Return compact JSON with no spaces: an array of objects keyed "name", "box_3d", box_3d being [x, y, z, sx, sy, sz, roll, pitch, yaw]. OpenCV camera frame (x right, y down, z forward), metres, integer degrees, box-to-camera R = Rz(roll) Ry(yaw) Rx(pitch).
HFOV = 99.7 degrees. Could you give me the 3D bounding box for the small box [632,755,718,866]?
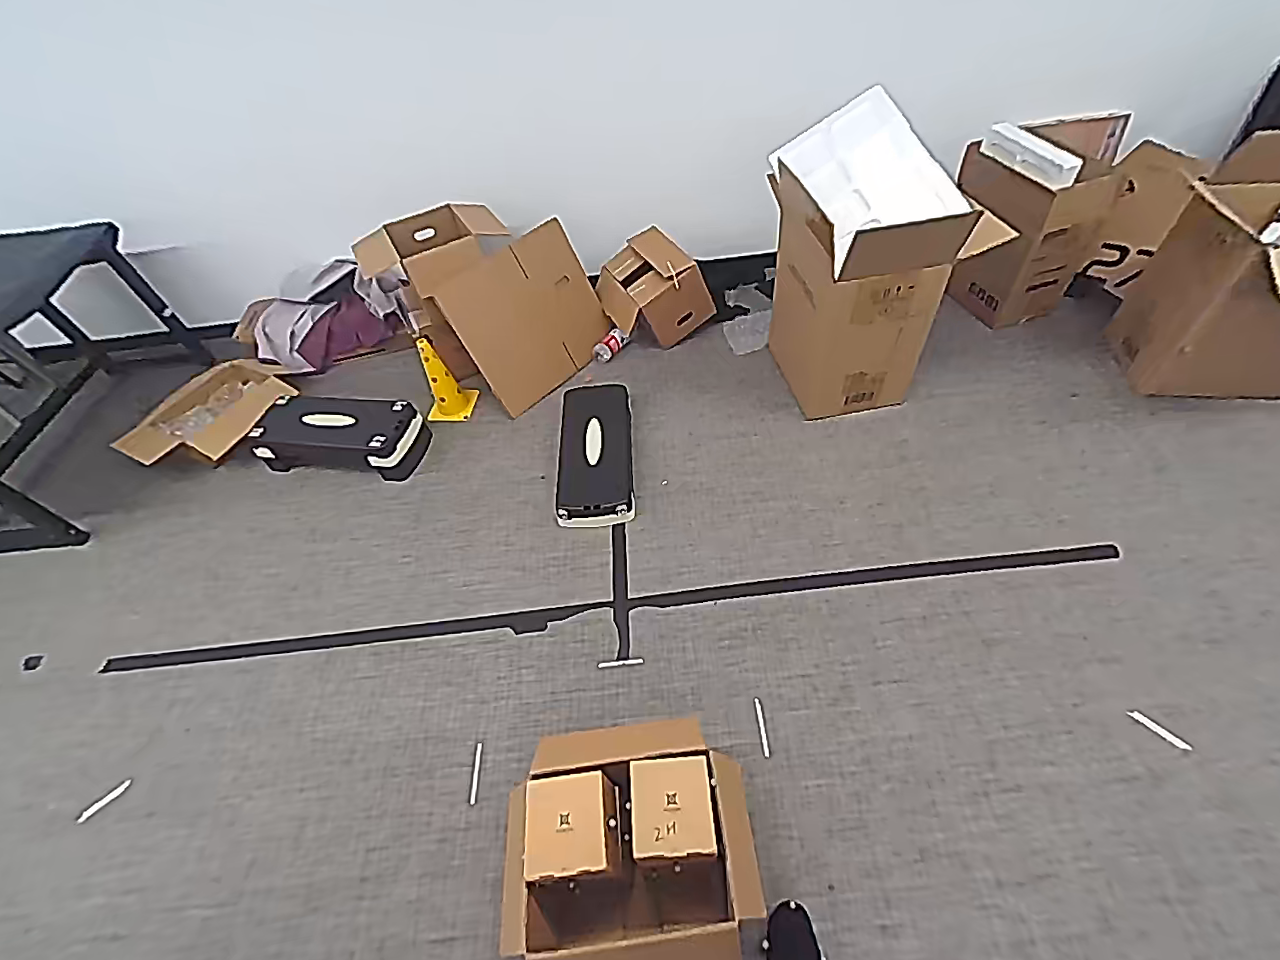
[{"name":"small box","box_3d":[0.072,0.706,1.151,0.168,0.176,0.179,-6,50,3]}]
